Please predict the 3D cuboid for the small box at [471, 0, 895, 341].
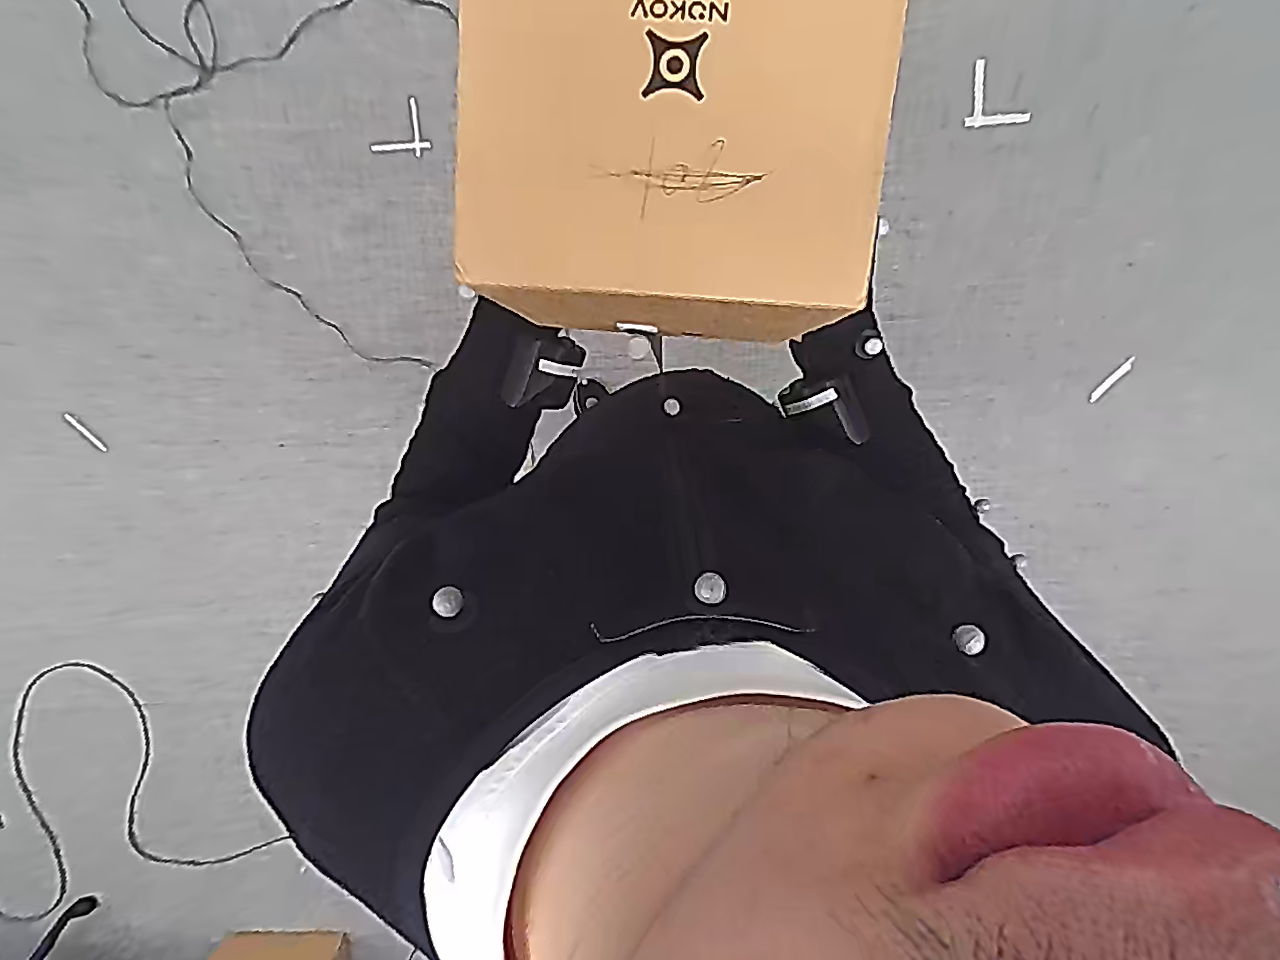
[{"bbox_3d":[0.018,-0.175,0.292,0.168,0.176,0.179,3,101,3],"label":"small box"}]
